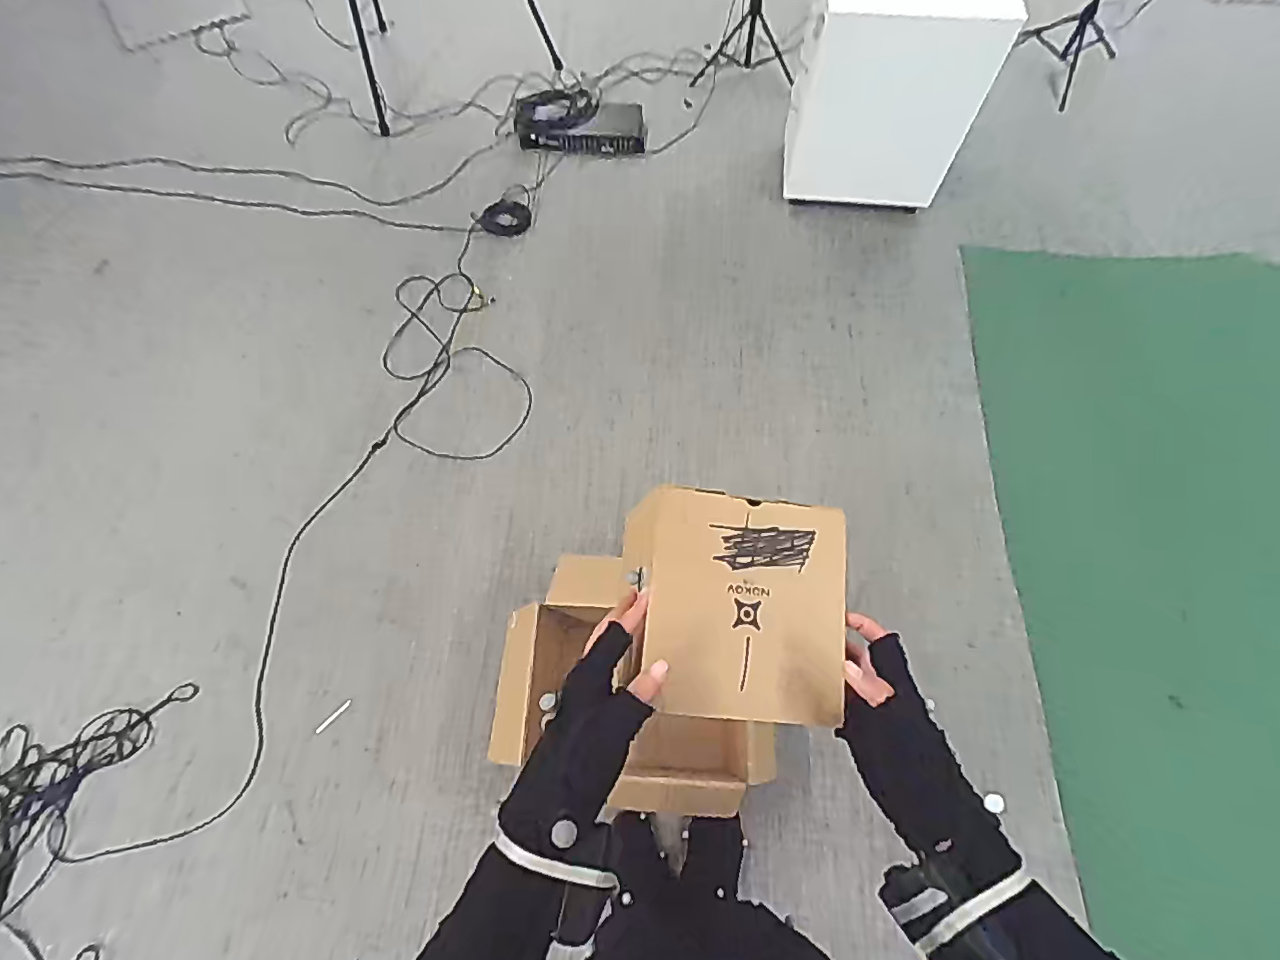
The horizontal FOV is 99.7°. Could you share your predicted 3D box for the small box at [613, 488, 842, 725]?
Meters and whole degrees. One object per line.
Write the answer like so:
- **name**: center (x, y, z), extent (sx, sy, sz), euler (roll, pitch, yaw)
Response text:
- **small box**: center (0.071, 0.118, 0.512), extent (0.168, 0.176, 0.179), euler (8, 76, -9)
